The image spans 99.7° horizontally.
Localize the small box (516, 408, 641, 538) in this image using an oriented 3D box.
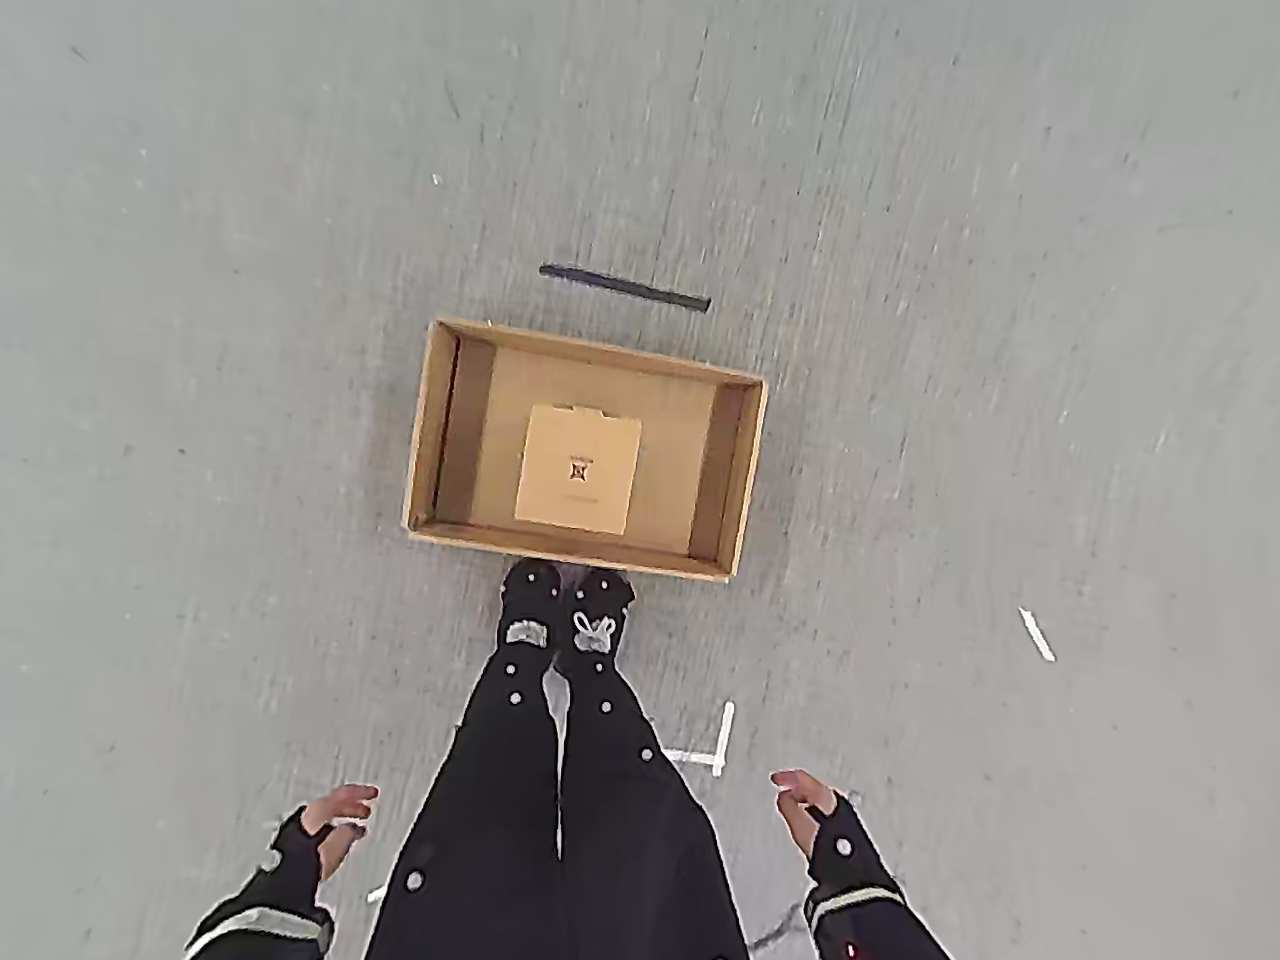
[{"bbox_3d":[-0.099,-0.013,0.883,0.168,0.176,0.179,9,93,-5],"label":"small box"}]
